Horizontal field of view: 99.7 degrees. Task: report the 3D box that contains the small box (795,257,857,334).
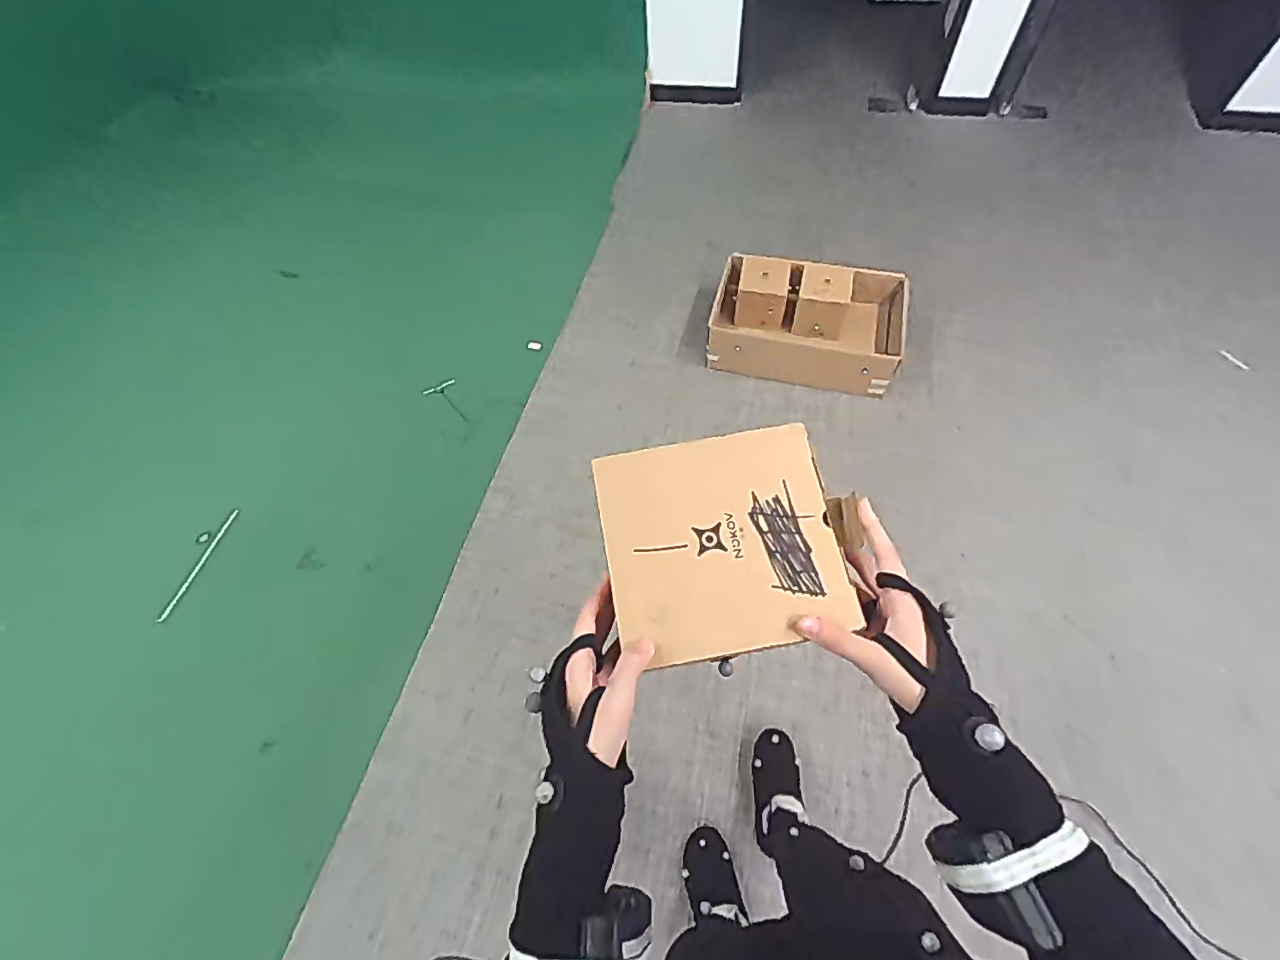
[{"bbox_3d":[0.635,-0.634,1.857,0.168,0.176,0.179,11,62,13],"label":"small box"}]
